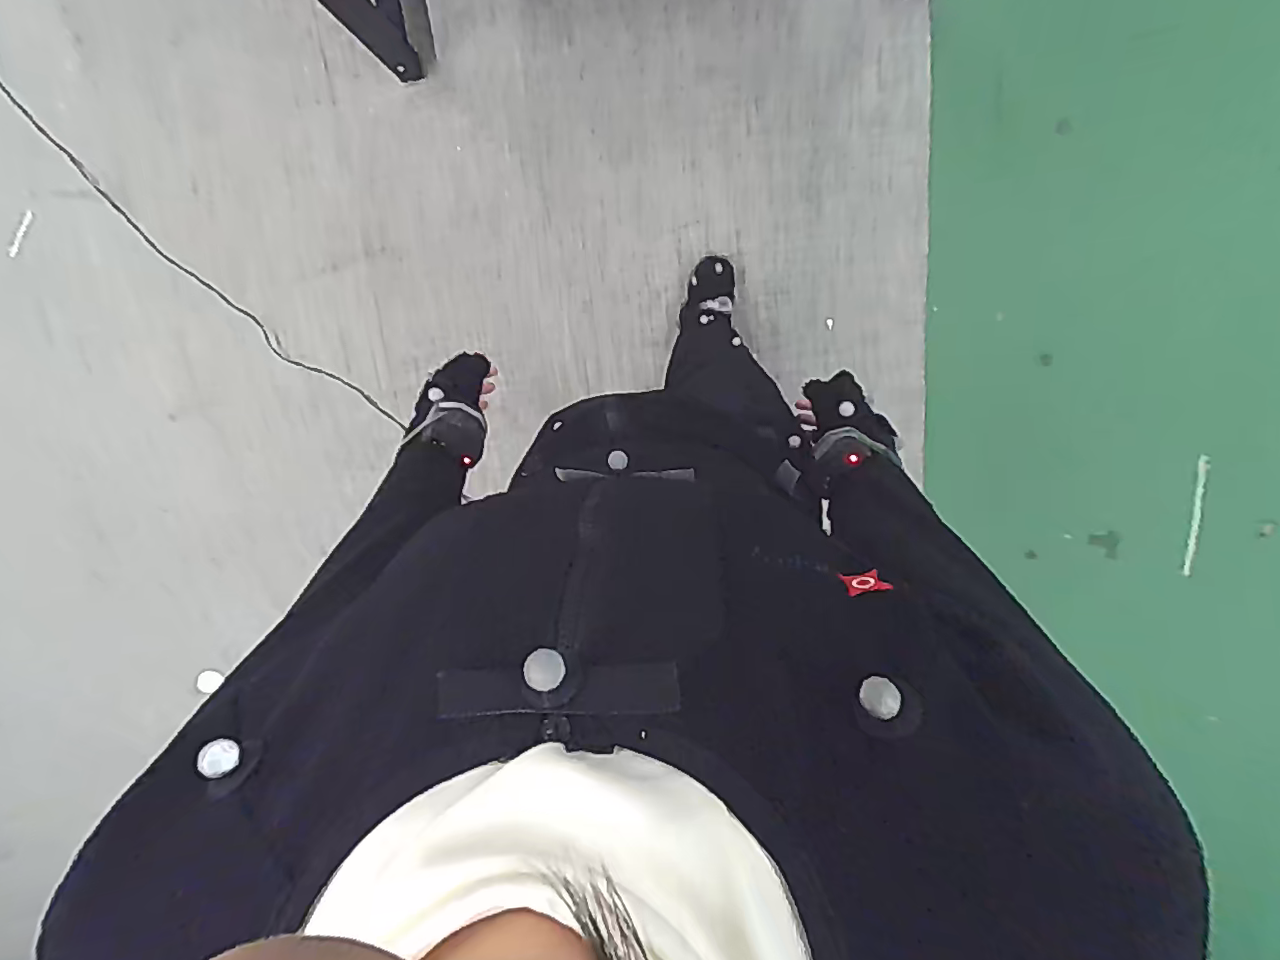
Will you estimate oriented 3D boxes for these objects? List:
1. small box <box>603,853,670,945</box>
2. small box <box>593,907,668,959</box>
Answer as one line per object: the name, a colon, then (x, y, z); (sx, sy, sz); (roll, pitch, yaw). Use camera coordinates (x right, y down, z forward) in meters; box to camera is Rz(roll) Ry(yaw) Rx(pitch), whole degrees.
small box: (-0.006, 1.273, 1.642); (0.179, 0.176, 0.168); (-8, 105, 5)
small box: (-0.023, 1.302, 1.463); (0.179, 0.176, 0.168); (-10, 104, 6)
